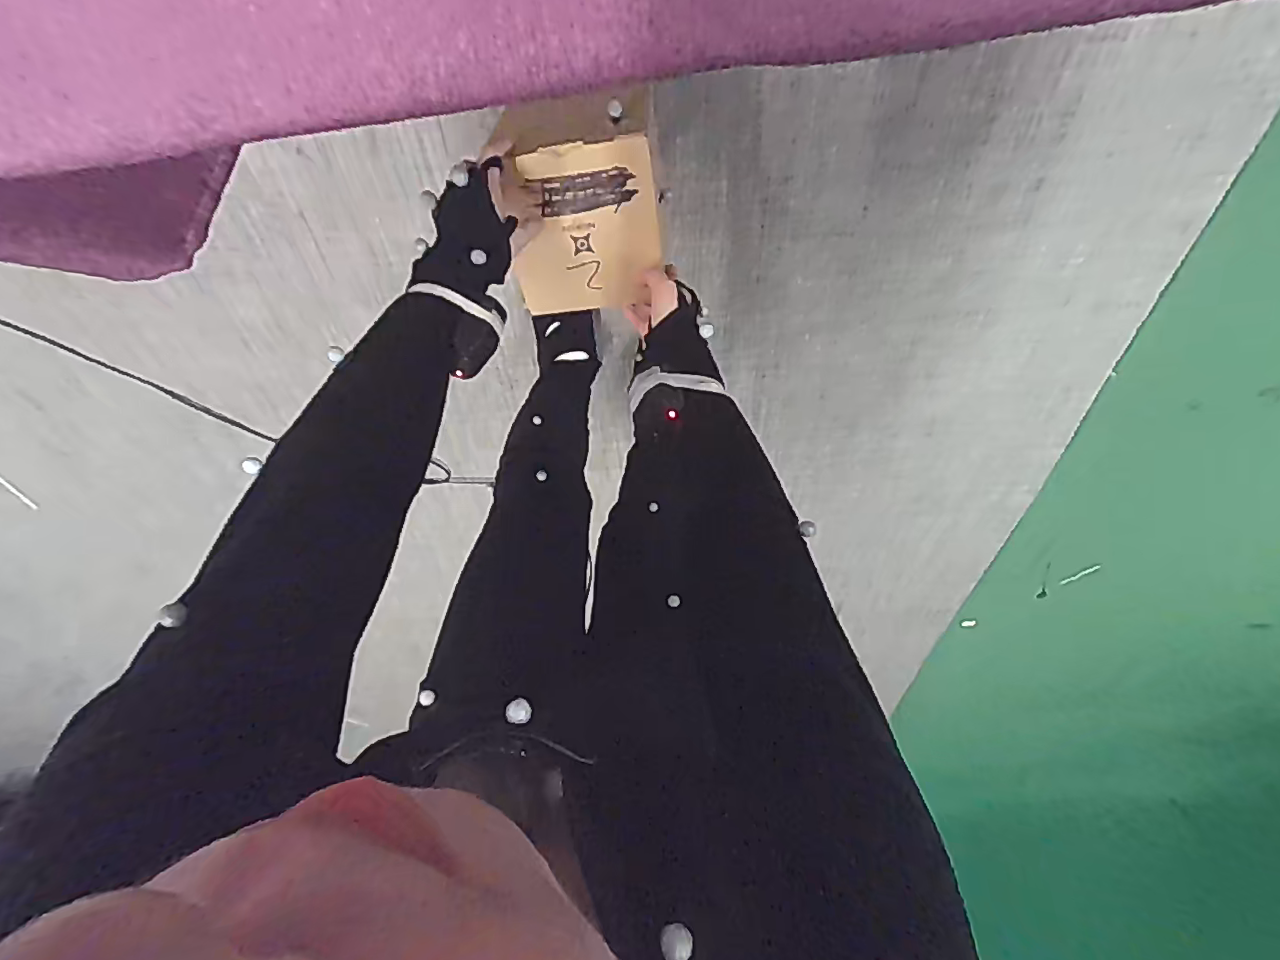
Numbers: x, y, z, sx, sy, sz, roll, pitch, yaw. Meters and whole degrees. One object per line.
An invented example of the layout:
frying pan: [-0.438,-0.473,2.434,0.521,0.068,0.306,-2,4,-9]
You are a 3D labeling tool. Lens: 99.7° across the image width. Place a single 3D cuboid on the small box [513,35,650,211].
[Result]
small box: [-0.071,-0.503,0.762,0.168,0.176,0.179,-4,134,0]
